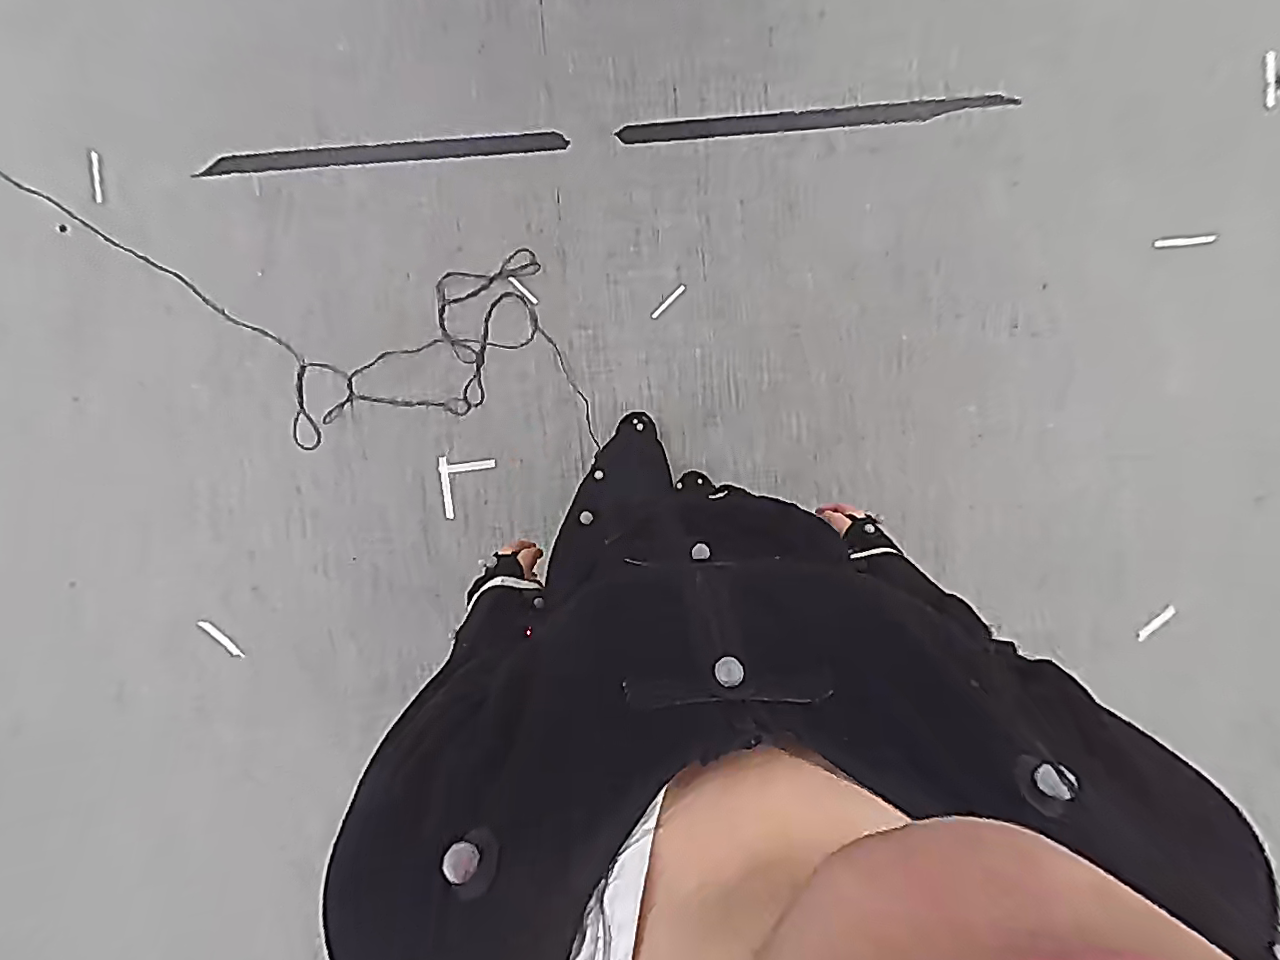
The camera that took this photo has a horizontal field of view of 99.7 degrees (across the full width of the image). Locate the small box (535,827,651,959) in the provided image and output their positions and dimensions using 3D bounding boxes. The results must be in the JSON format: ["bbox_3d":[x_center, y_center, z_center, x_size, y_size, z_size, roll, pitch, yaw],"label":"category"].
[{"bbox_3d":[-0.067,0.686,0.860,0.168,0.176,0.179,-2,93,2],"label":"small box"}]
